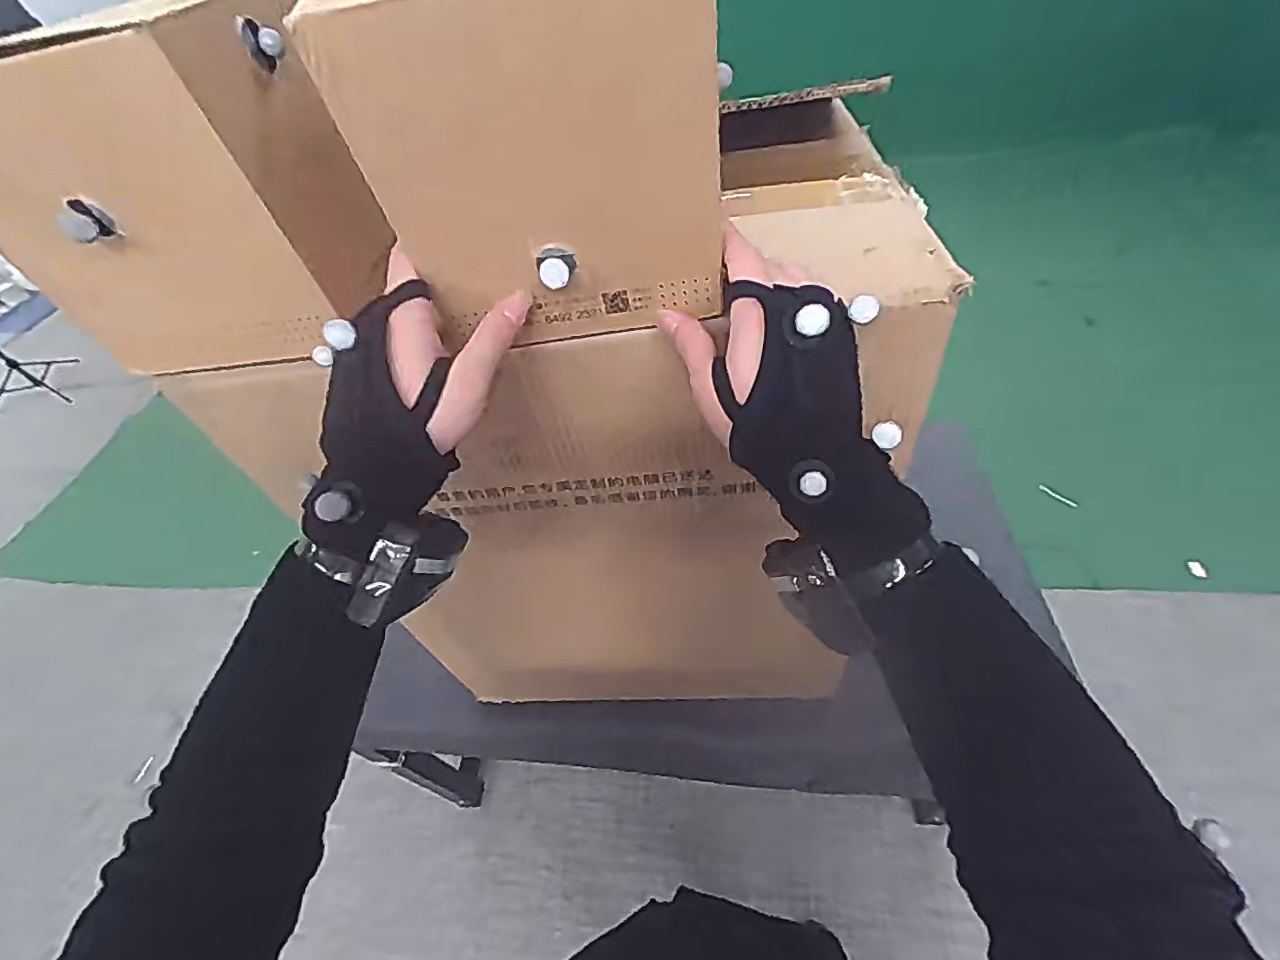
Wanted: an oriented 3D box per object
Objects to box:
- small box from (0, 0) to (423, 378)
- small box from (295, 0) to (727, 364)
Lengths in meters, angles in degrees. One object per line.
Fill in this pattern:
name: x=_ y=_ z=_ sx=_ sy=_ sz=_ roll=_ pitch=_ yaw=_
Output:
small box: x=-0.265 y=-0.181 z=0.345 sx=0.179 sy=0.176 sz=0.168 roll=-4 pitch=50 yaw=8
small box: x=-0.042 y=-0.192 z=0.309 sx=0.168 sy=0.176 sz=0.179 roll=-6 pitch=56 yaw=6
